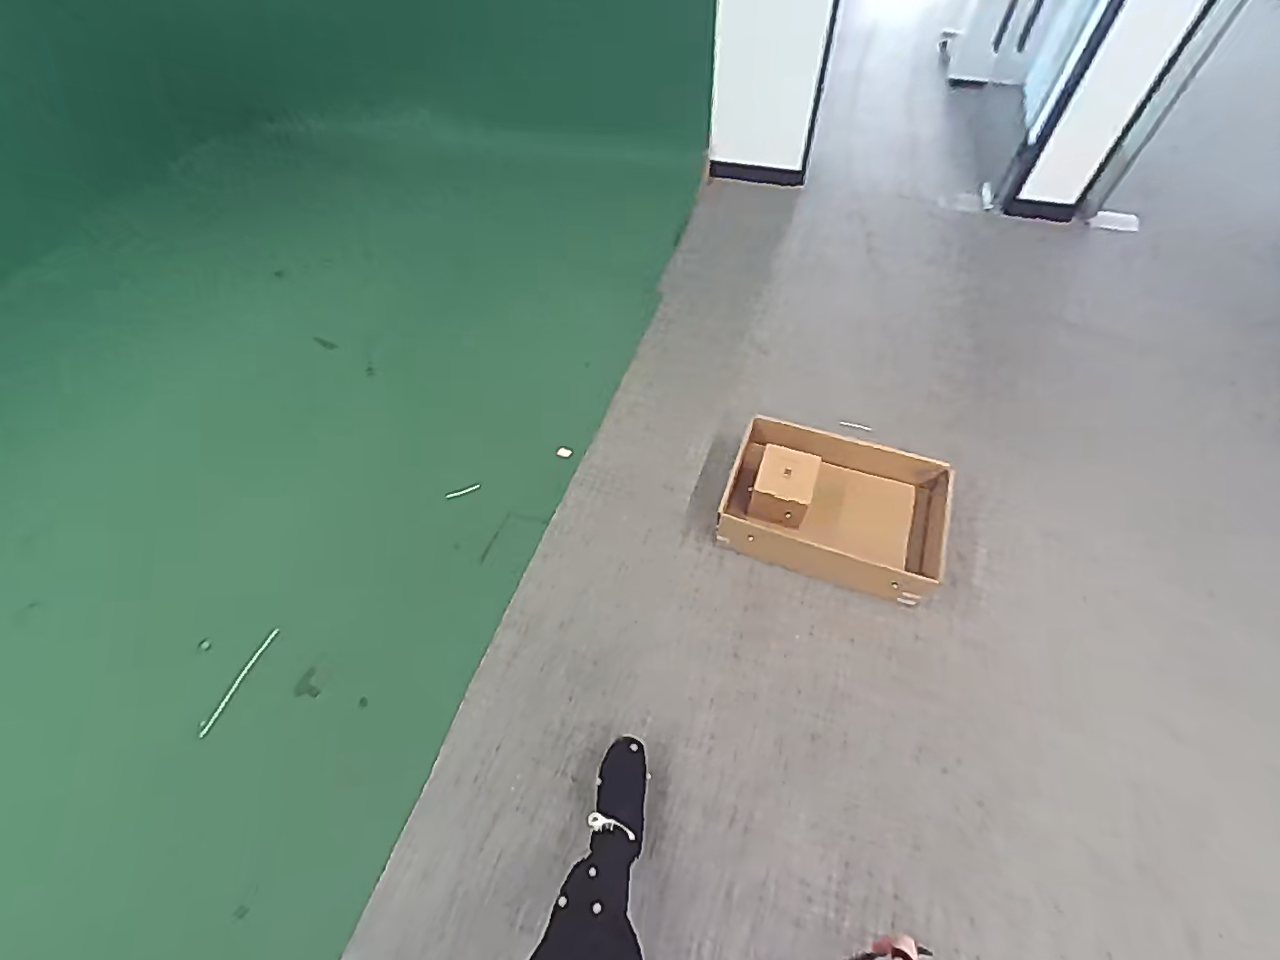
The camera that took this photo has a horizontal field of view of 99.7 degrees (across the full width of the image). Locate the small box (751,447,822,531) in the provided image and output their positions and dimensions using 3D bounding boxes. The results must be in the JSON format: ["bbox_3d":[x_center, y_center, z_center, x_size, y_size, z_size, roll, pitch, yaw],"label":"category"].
[{"bbox_3d":[0.441,0.031,1.650,0.168,0.176,0.179,16,60,12],"label":"small box"}]
